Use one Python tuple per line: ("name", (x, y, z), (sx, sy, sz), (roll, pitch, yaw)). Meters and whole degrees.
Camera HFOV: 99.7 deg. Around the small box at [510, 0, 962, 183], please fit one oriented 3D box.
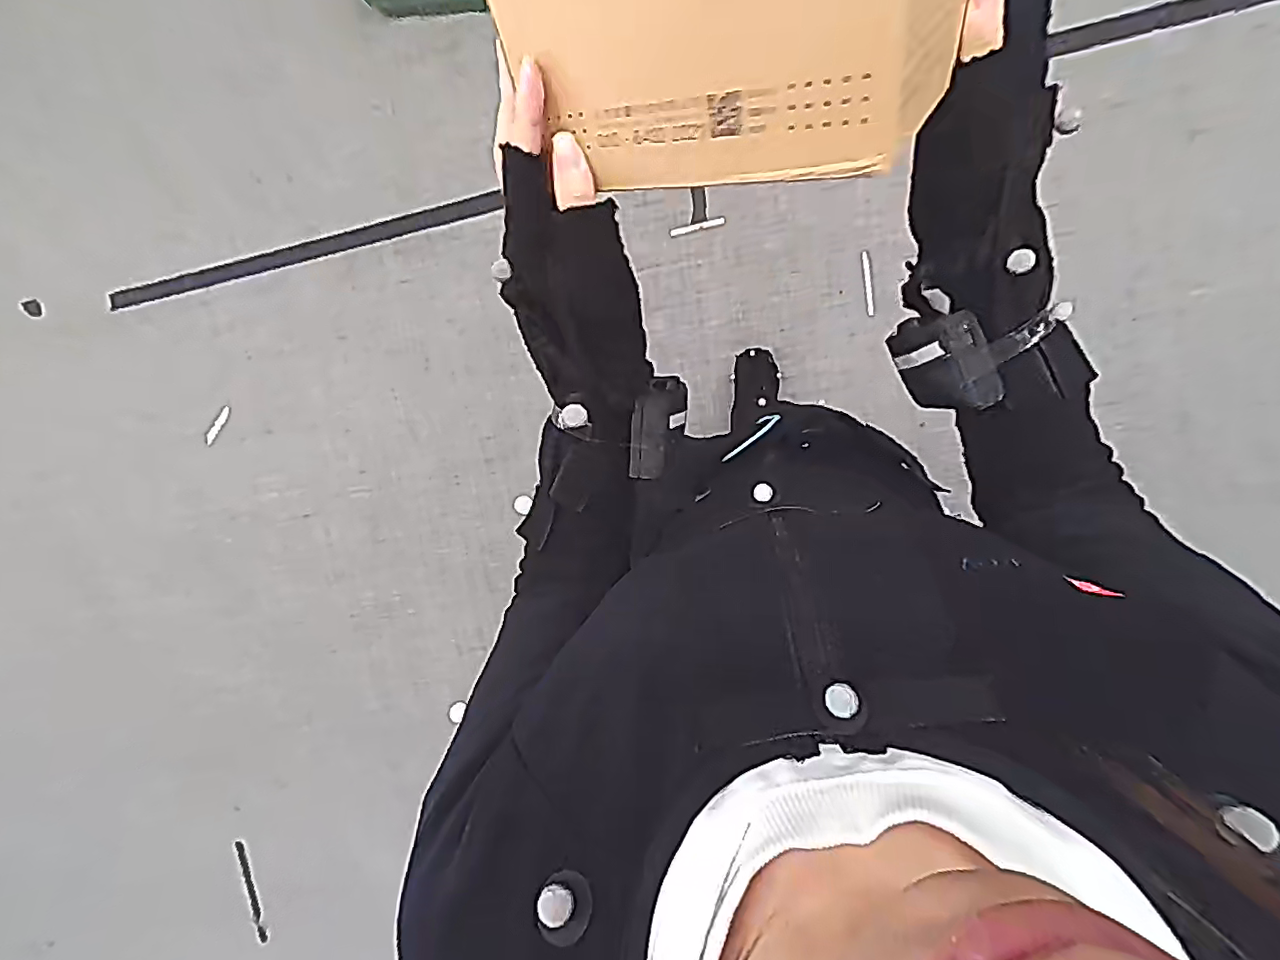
("small box", (0.049, -0.250, 0.244), (0.168, 0.179, 0.176), (18, 143, 31))
